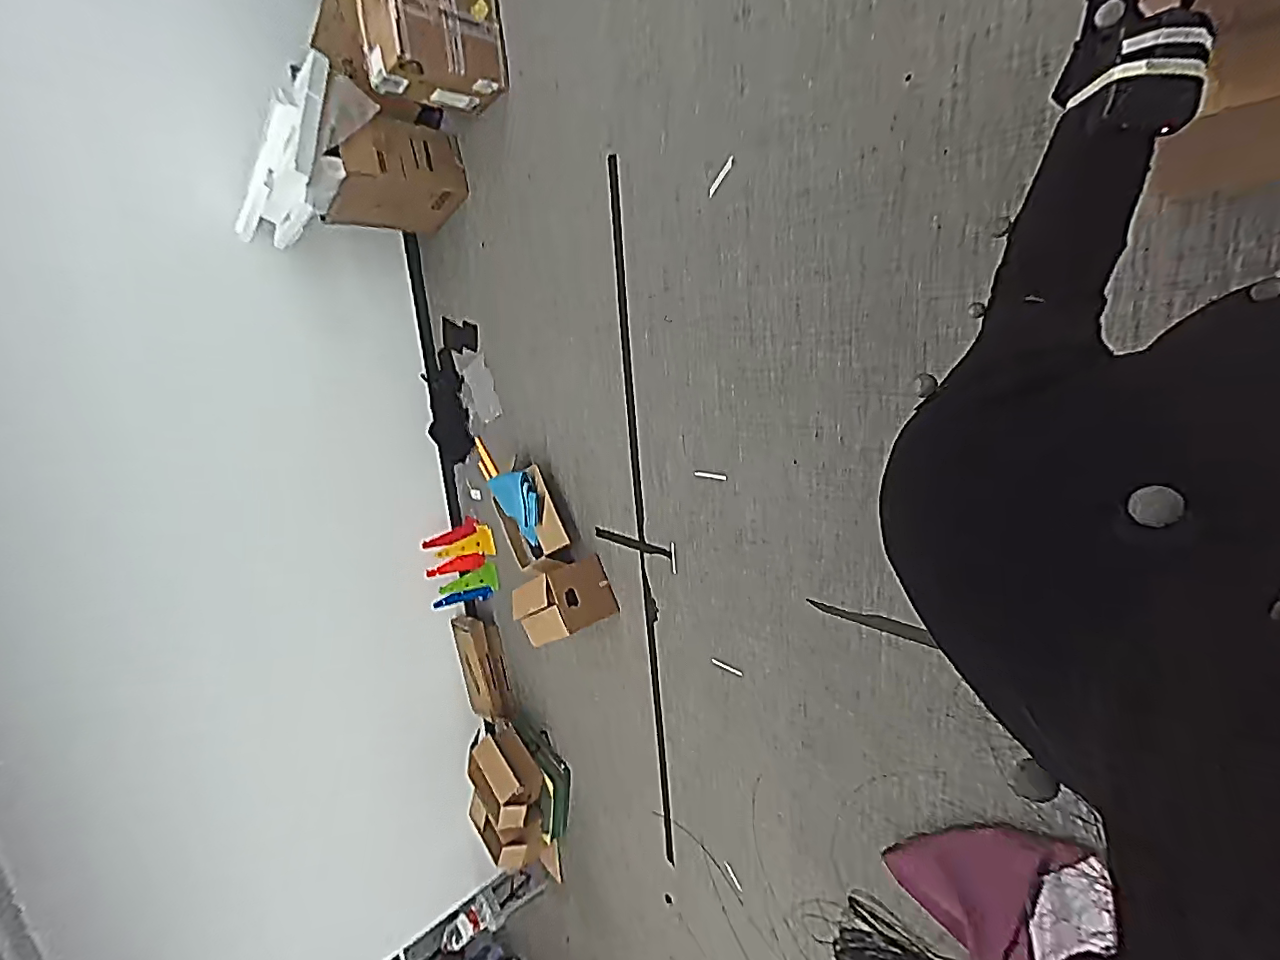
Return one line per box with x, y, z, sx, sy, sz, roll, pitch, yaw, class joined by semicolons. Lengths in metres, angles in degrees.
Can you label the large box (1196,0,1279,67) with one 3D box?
0.611;-0.516;0.301;0.408;0.320;0.320;6;116;47;large box
